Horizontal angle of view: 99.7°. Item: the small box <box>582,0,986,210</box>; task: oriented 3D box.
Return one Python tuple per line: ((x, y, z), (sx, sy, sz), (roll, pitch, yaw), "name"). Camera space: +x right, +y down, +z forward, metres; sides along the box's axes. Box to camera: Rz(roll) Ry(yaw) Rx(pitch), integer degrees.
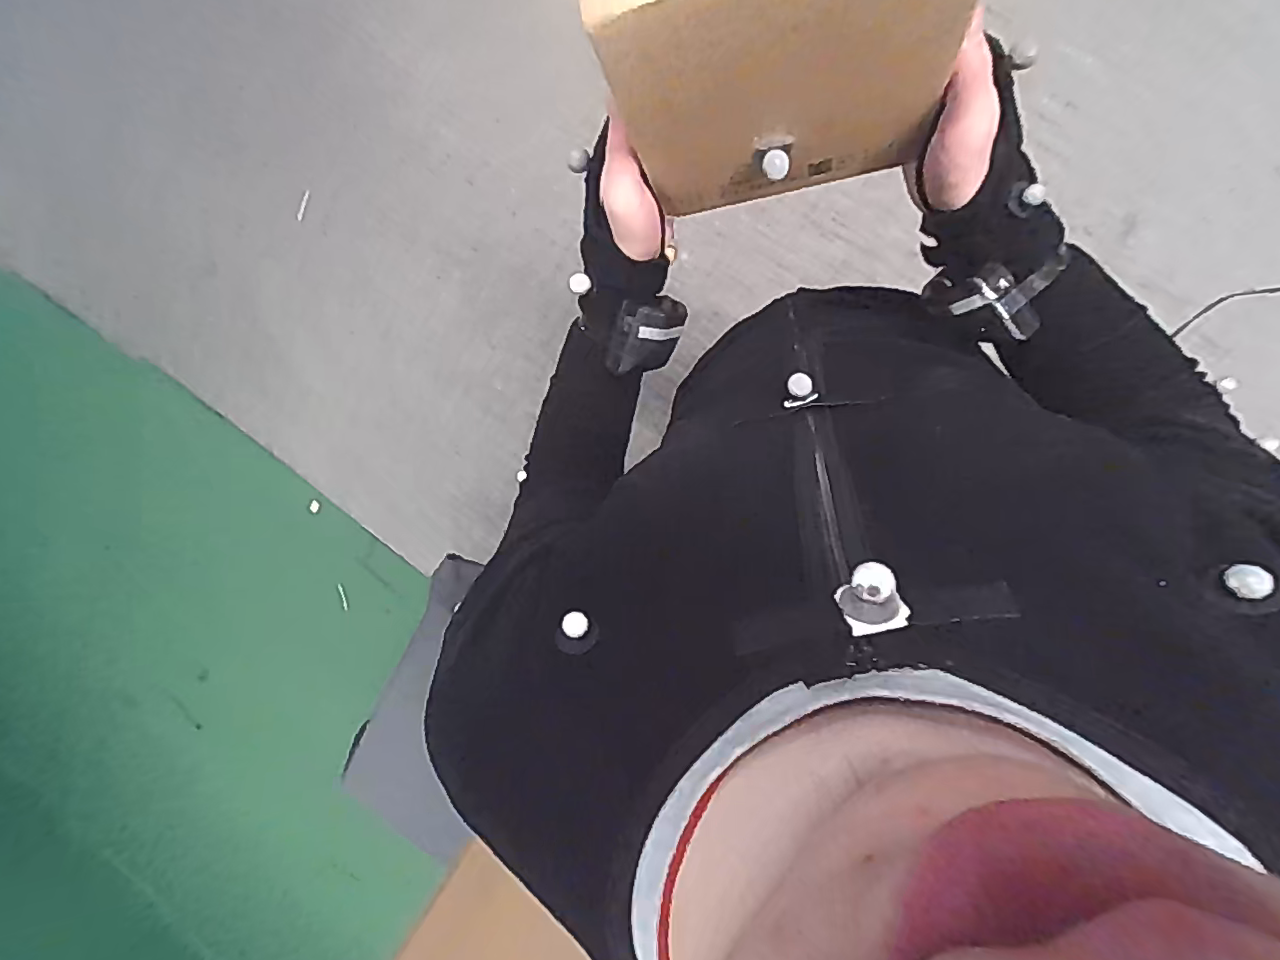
((0.069, -0.278, 0.281), (0.168, 0.176, 0.179), (-5, 89, 15), "small box")
